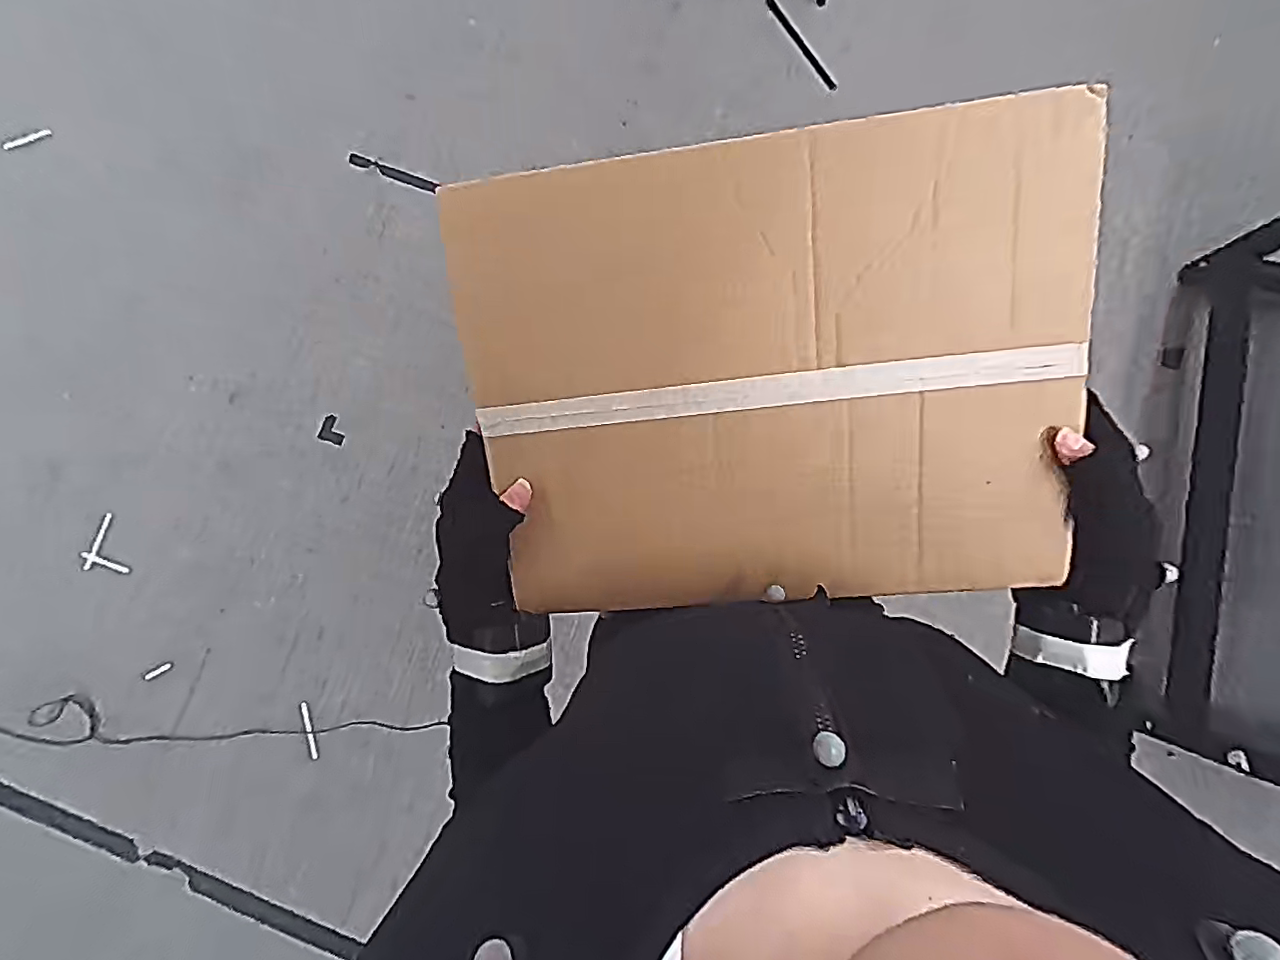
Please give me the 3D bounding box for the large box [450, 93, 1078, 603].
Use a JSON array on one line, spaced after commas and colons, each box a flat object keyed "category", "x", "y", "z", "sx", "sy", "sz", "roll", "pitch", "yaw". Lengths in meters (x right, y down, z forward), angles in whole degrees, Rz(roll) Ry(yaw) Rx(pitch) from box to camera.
[{"category": "large box", "x": 0.094, "y": -0.102, "z": 0.523, "sx": 0.408, "sy": 0.320, "sz": 0.320, "roll": -5, "pitch": 105, "yaw": 7}]
